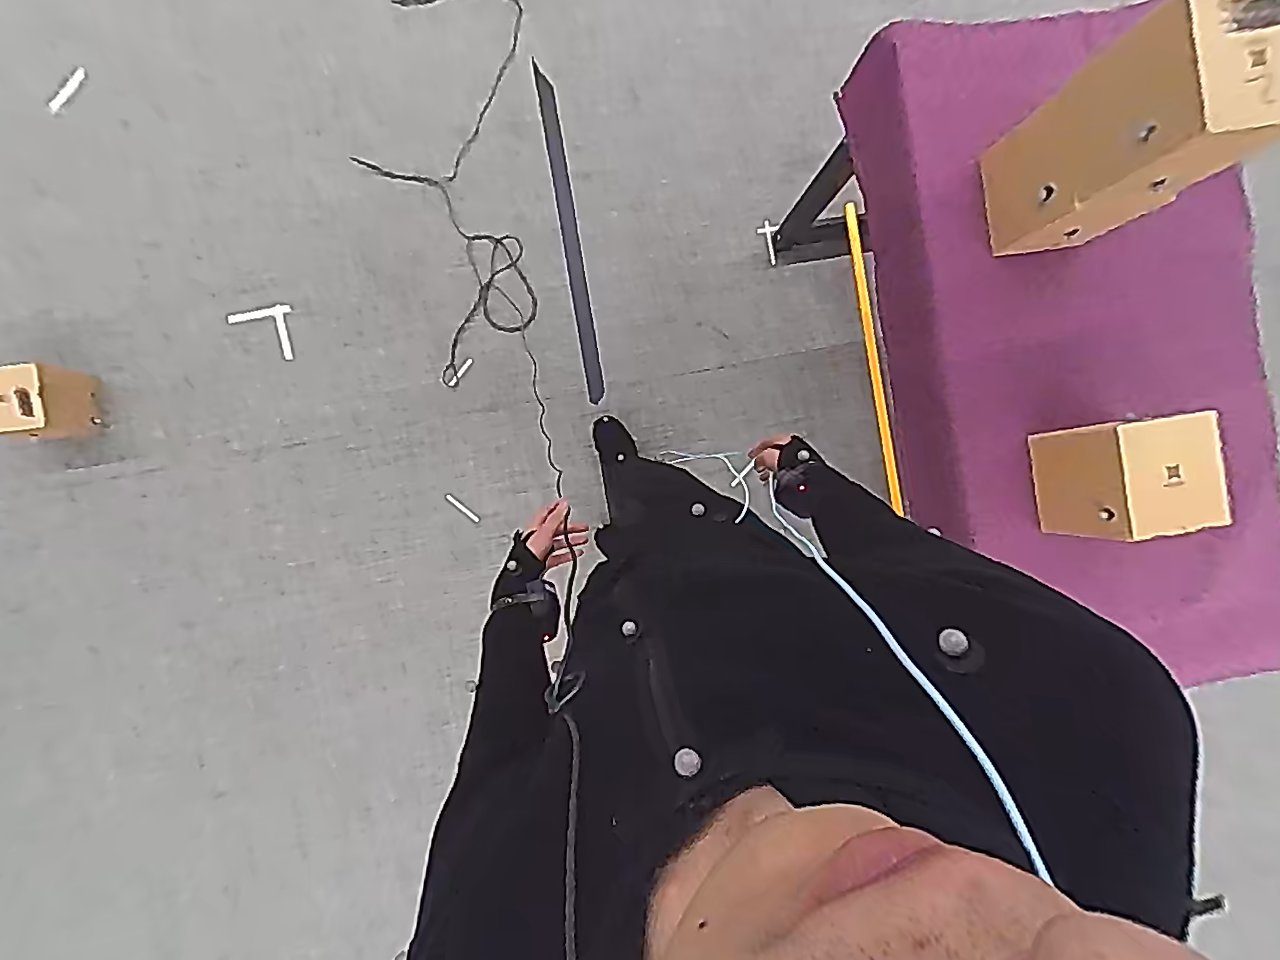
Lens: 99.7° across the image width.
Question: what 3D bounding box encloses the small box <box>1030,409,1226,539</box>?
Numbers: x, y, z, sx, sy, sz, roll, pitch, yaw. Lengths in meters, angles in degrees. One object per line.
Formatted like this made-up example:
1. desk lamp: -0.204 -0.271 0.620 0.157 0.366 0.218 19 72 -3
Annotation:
1. small box: 0.780 -0.009 0.882 0.168 0.176 0.179 -9 92 -5

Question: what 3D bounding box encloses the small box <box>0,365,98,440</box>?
1. small box: -1.585 -0.200 1.421 0.179 0.176 0.168 -7 90 -4

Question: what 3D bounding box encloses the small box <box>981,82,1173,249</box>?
1. small box: 0.688 -0.489 0.869 0.168 0.176 0.179 -8 91 -5
